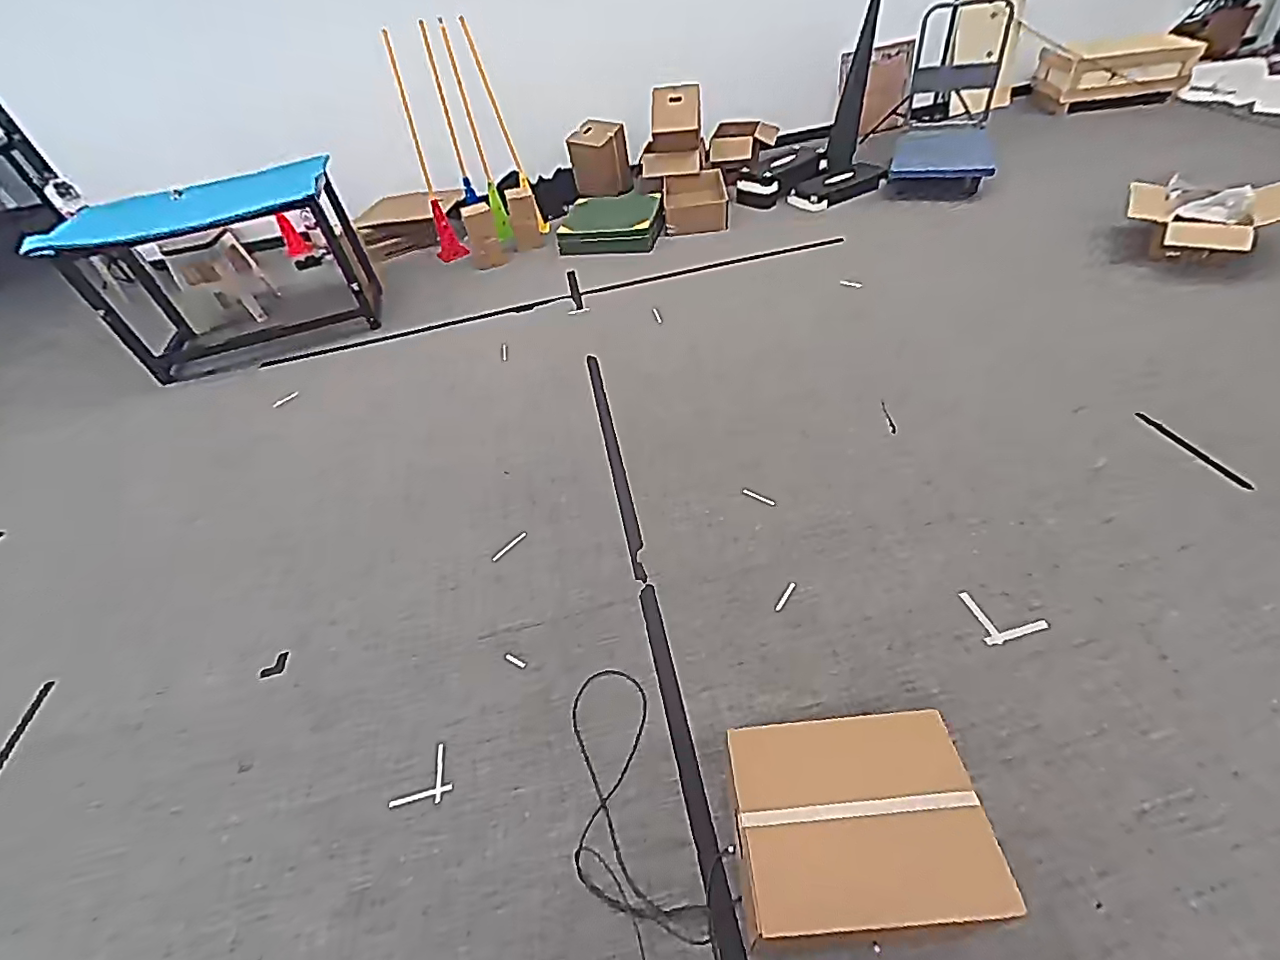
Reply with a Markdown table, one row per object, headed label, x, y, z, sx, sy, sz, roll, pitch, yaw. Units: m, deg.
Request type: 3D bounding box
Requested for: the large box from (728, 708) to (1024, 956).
| label | x | y | z | sx | sy | sz | roll | pitch | yaw |
| --- | --- | --- | --- | --- | --- | --- | --- | --- | --- |
| large box | 0.395 | 0.673 | 1.034 | 0.408 | 0.320 | 0.320 | -7 | 45 | 2 |
